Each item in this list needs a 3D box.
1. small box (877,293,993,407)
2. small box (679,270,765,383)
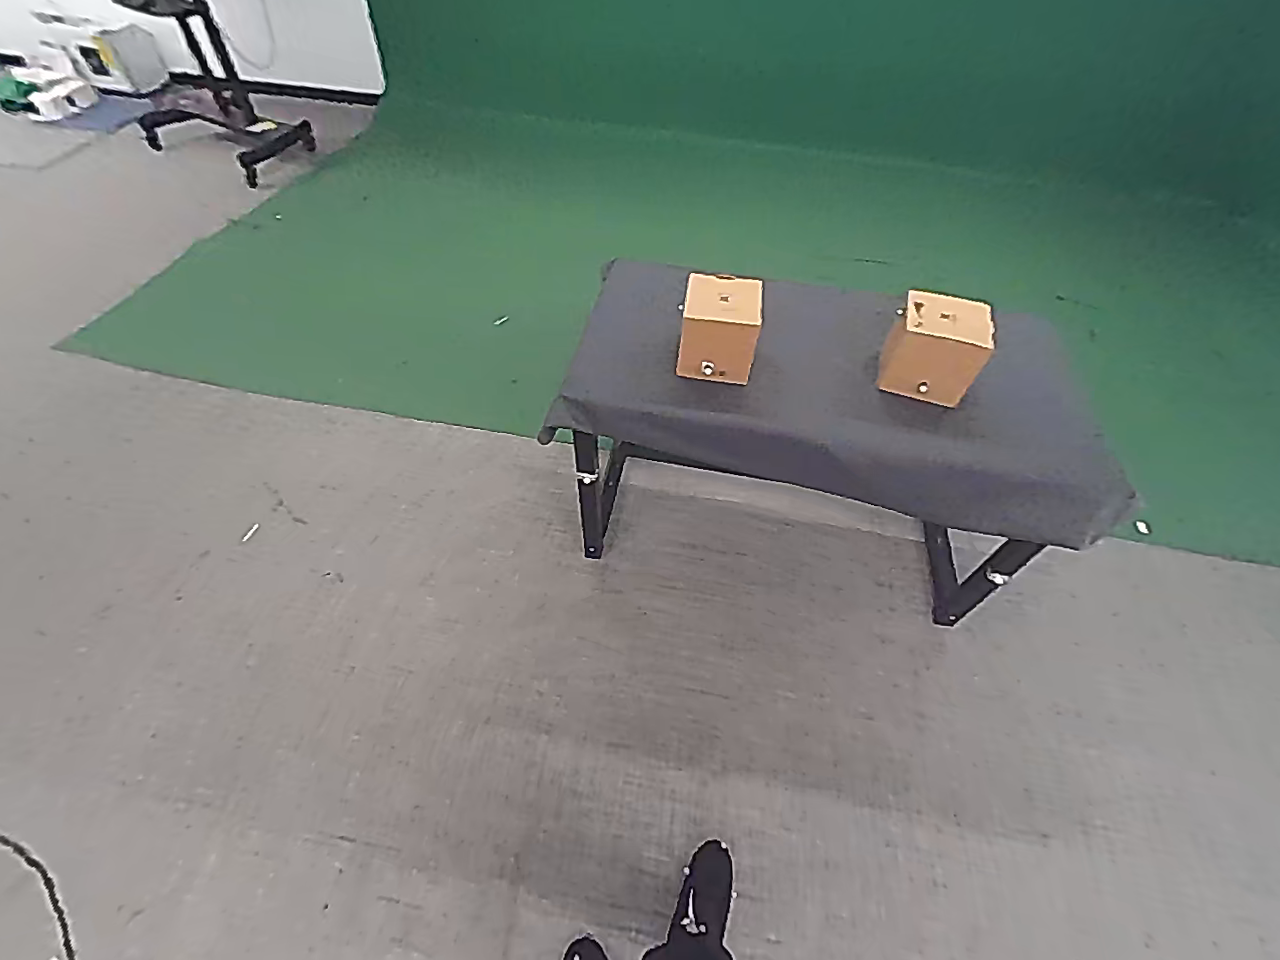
[{"bbox_3d":[0.663,-0.289,1.225,0.179,0.176,0.168,17,53,10],"label":"small box"},{"bbox_3d":[0.183,-0.349,1.229,0.168,0.176,0.179,8,52,6],"label":"small box"}]
